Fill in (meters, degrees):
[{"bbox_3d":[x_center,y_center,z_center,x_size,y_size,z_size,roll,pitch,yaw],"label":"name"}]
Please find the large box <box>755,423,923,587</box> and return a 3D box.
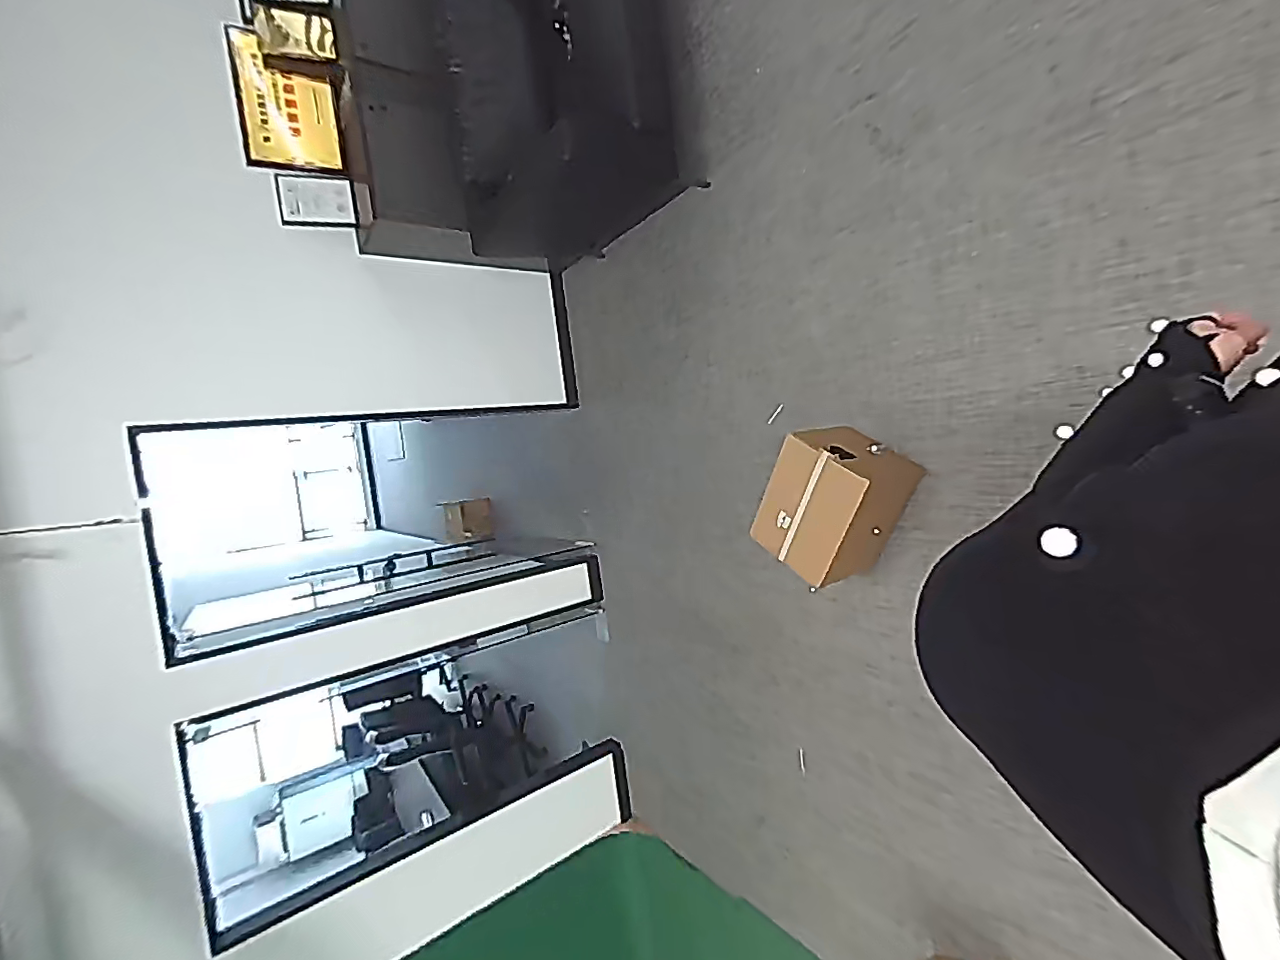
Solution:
[{"bbox_3d":[0.638,0.066,1.766,0.320,0.320,0.408,42,131,42],"label":"large box"}]
